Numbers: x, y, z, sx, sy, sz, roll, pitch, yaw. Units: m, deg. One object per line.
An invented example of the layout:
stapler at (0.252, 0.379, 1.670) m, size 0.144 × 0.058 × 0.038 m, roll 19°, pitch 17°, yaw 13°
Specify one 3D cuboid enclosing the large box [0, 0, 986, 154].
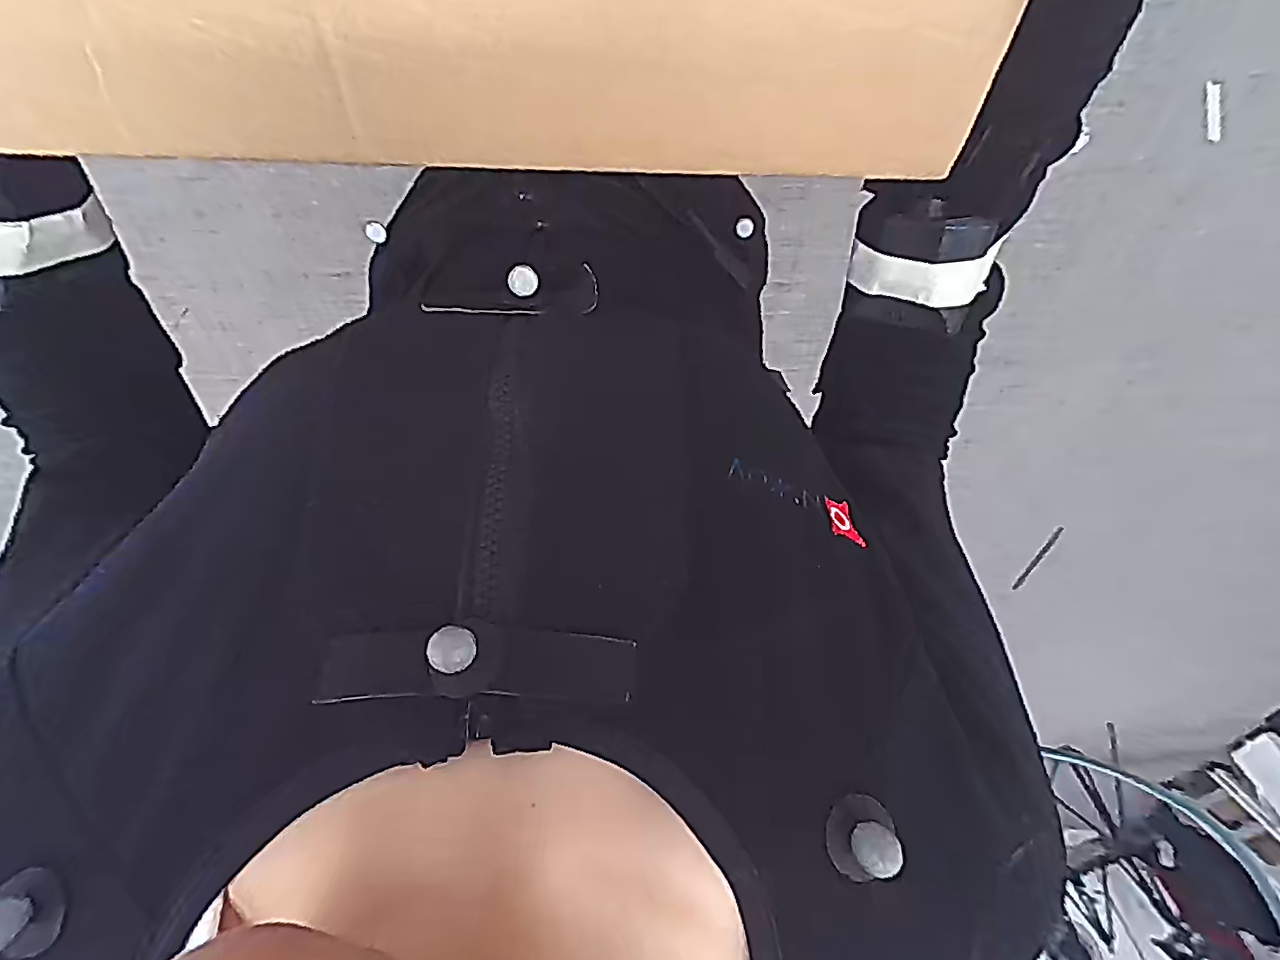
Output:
large box at (-0.074, -0.350, 0.197) m, size 0.408 × 0.320 × 0.320 m, roll -1°, pitch 140°, yaw -4°
